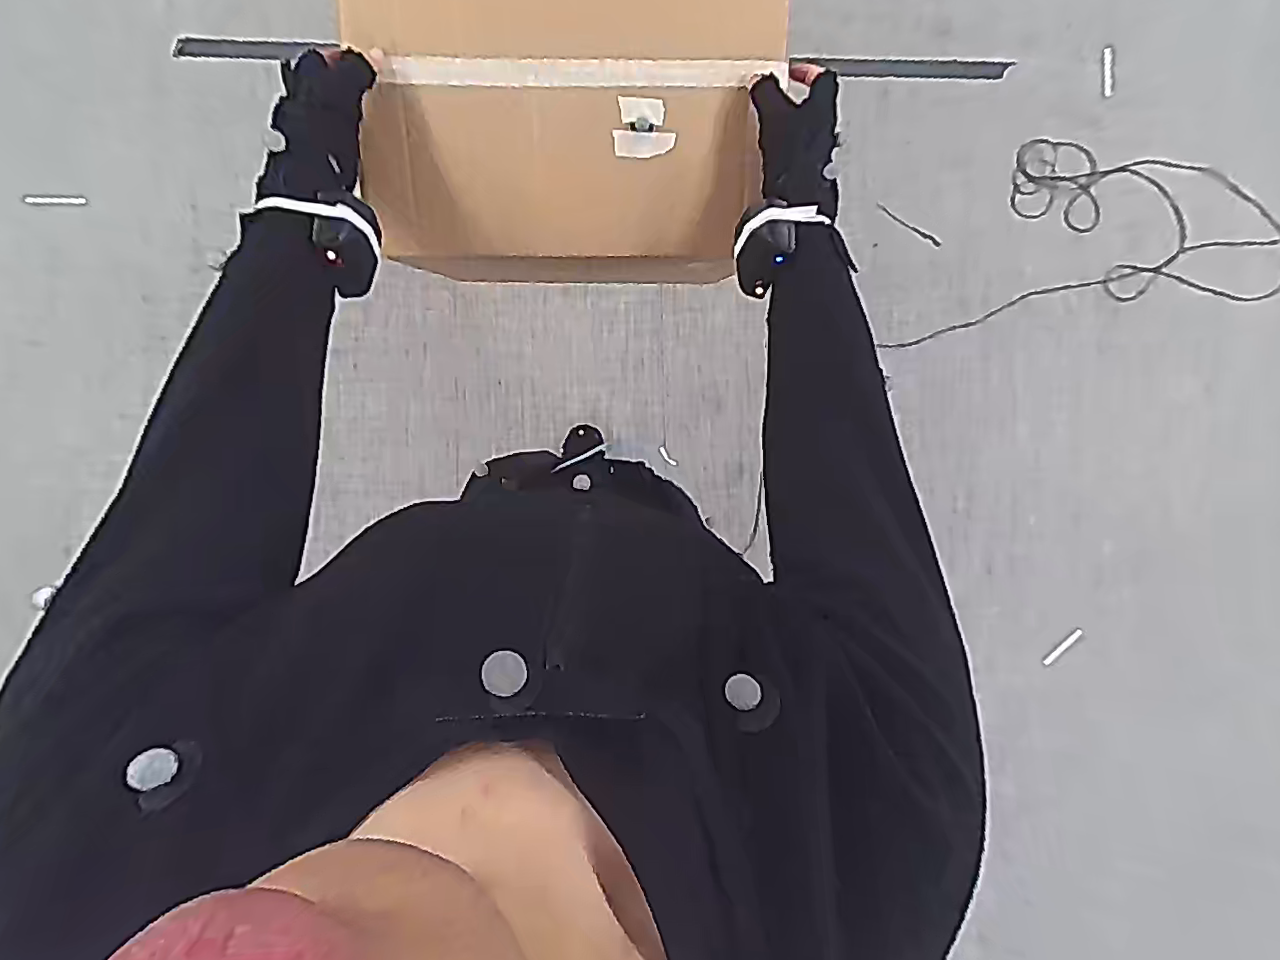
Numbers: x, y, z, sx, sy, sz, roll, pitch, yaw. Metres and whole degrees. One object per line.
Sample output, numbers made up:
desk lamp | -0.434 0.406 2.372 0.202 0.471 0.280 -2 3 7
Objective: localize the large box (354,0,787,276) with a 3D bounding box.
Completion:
large box | -0.070 -0.428 0.651 0.408 0.320 0.320 -1 106 -3
